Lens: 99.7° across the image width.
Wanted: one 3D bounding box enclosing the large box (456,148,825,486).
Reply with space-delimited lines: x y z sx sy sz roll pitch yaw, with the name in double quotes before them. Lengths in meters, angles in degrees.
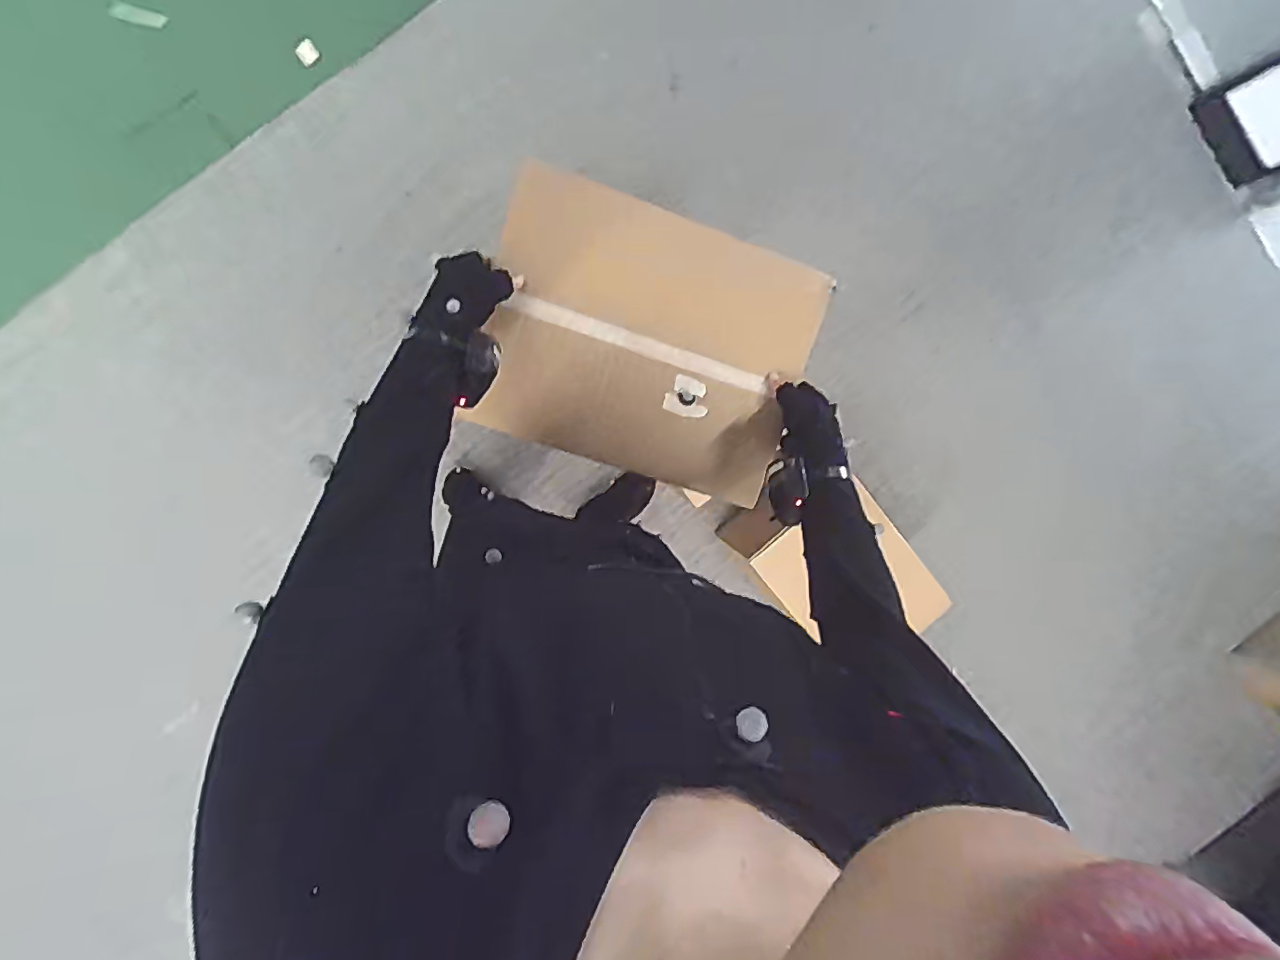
"large box" -0.017 -0.211 0.811 0.408 0.320 0.320 16 99 -11
